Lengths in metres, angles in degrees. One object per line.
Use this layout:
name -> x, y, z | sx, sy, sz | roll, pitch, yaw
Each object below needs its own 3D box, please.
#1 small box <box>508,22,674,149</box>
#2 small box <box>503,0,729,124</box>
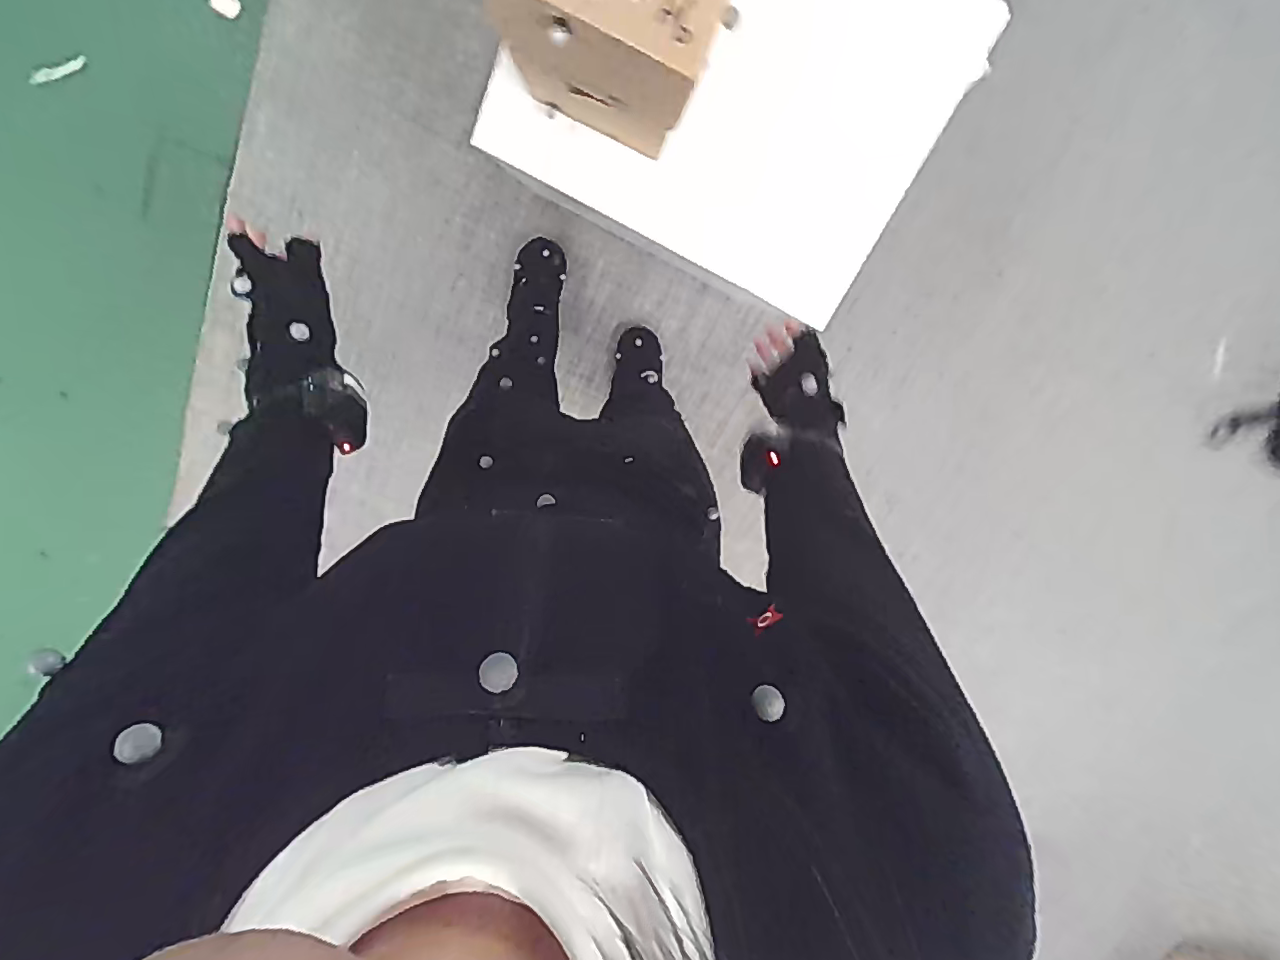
small box -> -0.014, -0.469, 0.545 | 0.168, 0.176, 0.179 | 21, 109, -10
small box -> -0.004, -0.405, 0.395 | 0.168, 0.176, 0.179 | 21, 109, -10
